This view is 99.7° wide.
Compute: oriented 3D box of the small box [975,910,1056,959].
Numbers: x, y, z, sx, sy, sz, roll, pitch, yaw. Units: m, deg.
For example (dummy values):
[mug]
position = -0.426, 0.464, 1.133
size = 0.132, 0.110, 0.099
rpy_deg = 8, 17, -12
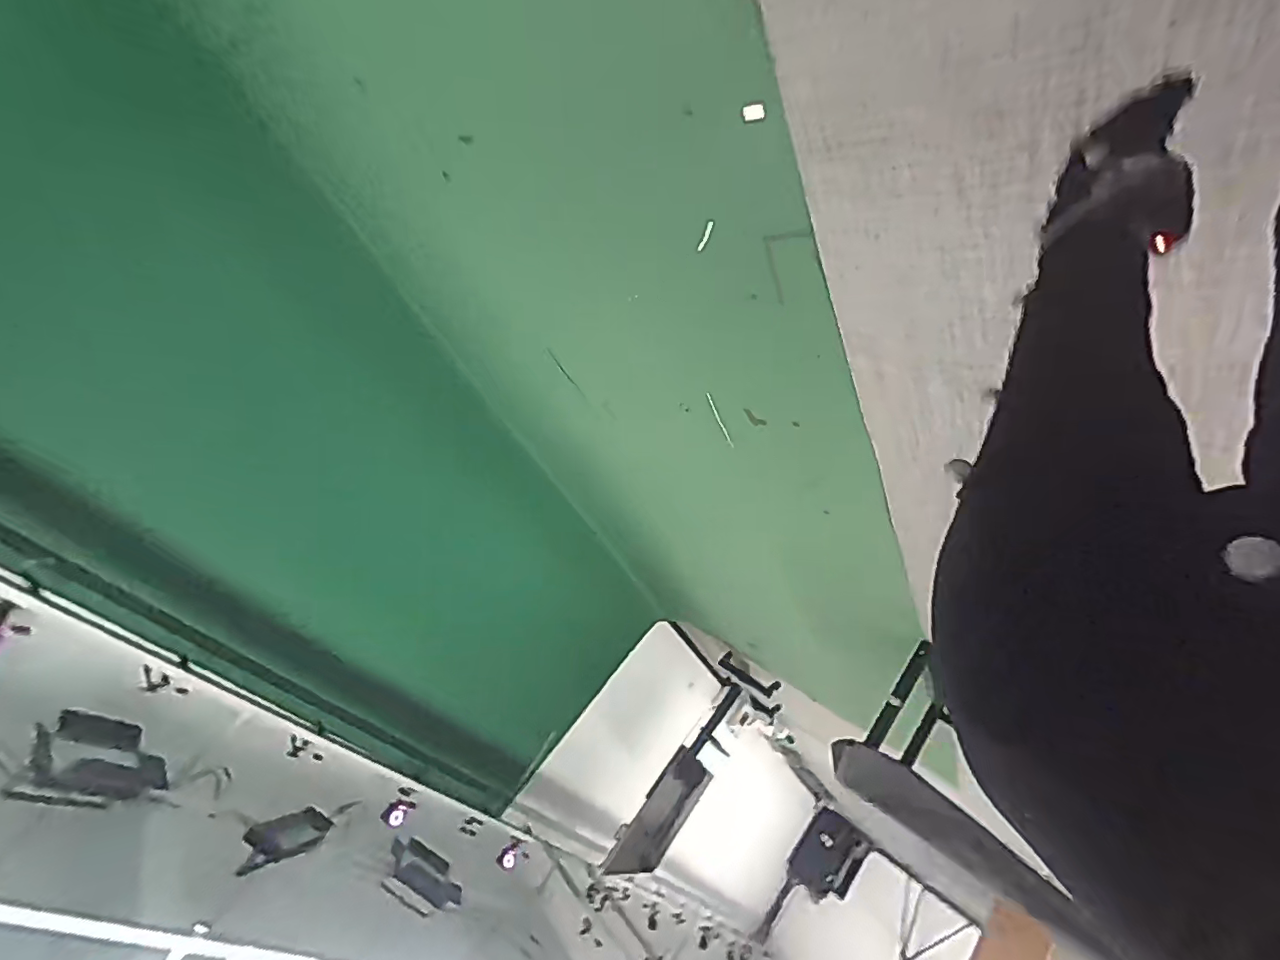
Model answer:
[small box]
position = 1.248, 1.573, 1.795
size = 0.179, 0.176, 0.168
rpy_deg = 18, 151, 49
